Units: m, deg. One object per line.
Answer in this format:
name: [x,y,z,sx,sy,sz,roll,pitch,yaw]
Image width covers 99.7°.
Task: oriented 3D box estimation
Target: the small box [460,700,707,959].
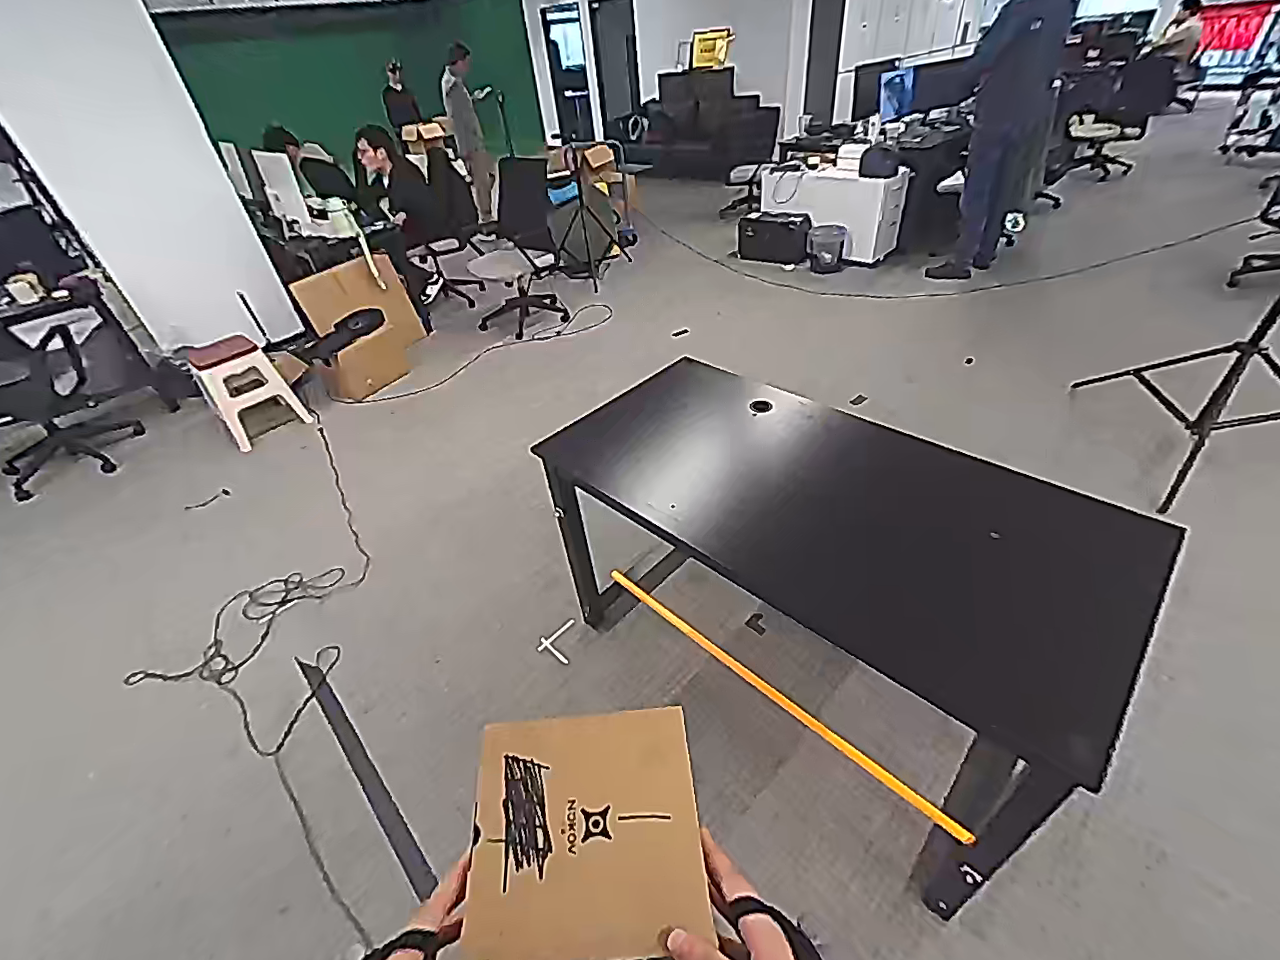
small box: [-0.041,0.318,0.484,0.179,0.176,0.168,-5,46,-2]
